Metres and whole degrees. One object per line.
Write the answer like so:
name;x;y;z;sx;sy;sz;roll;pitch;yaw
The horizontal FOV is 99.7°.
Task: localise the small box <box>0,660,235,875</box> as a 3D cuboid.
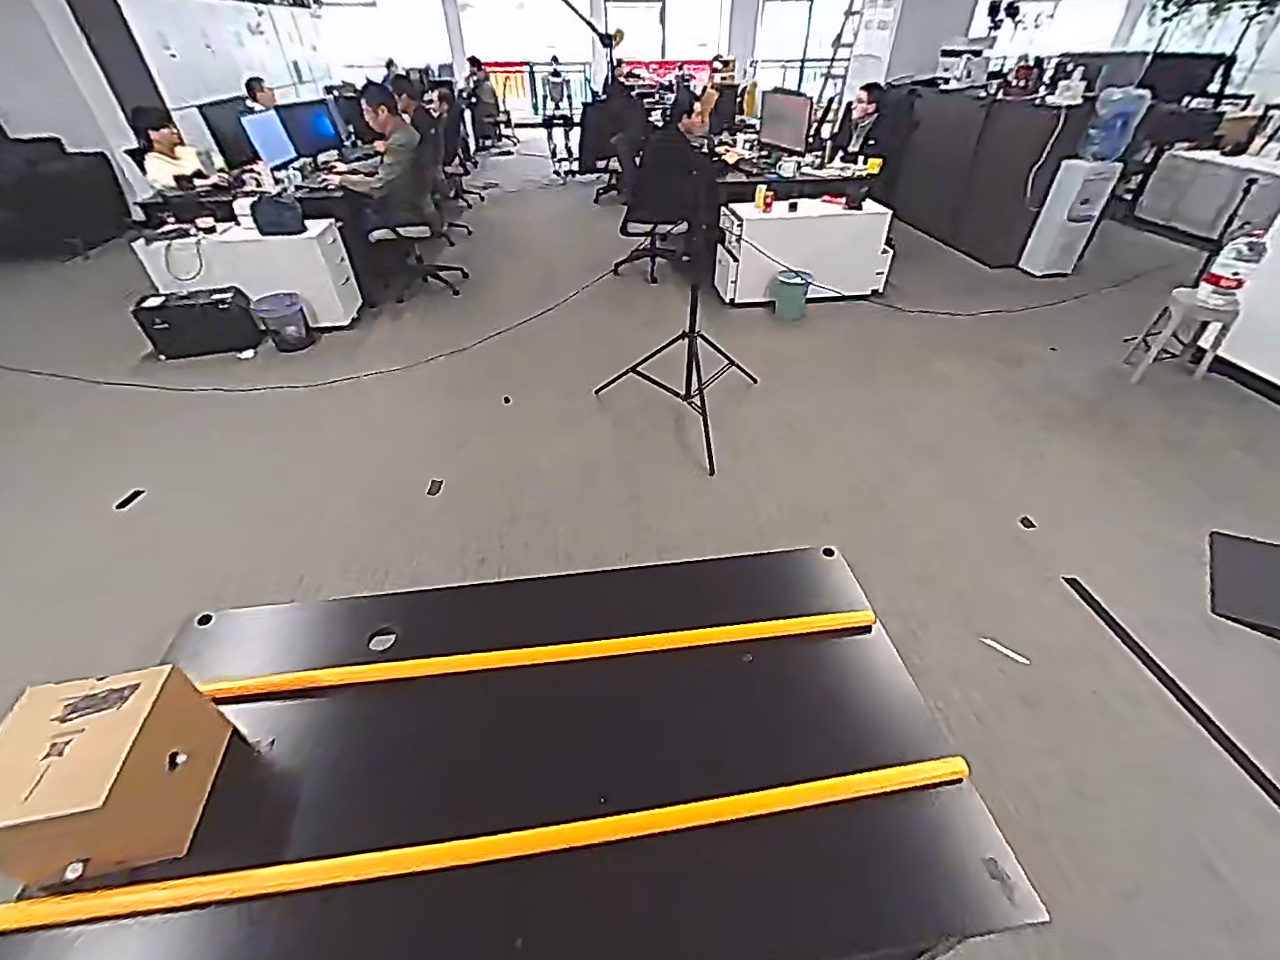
small box;-0.661;0.361;0.687;0.168;0.176;0.179;-8;41;-9
